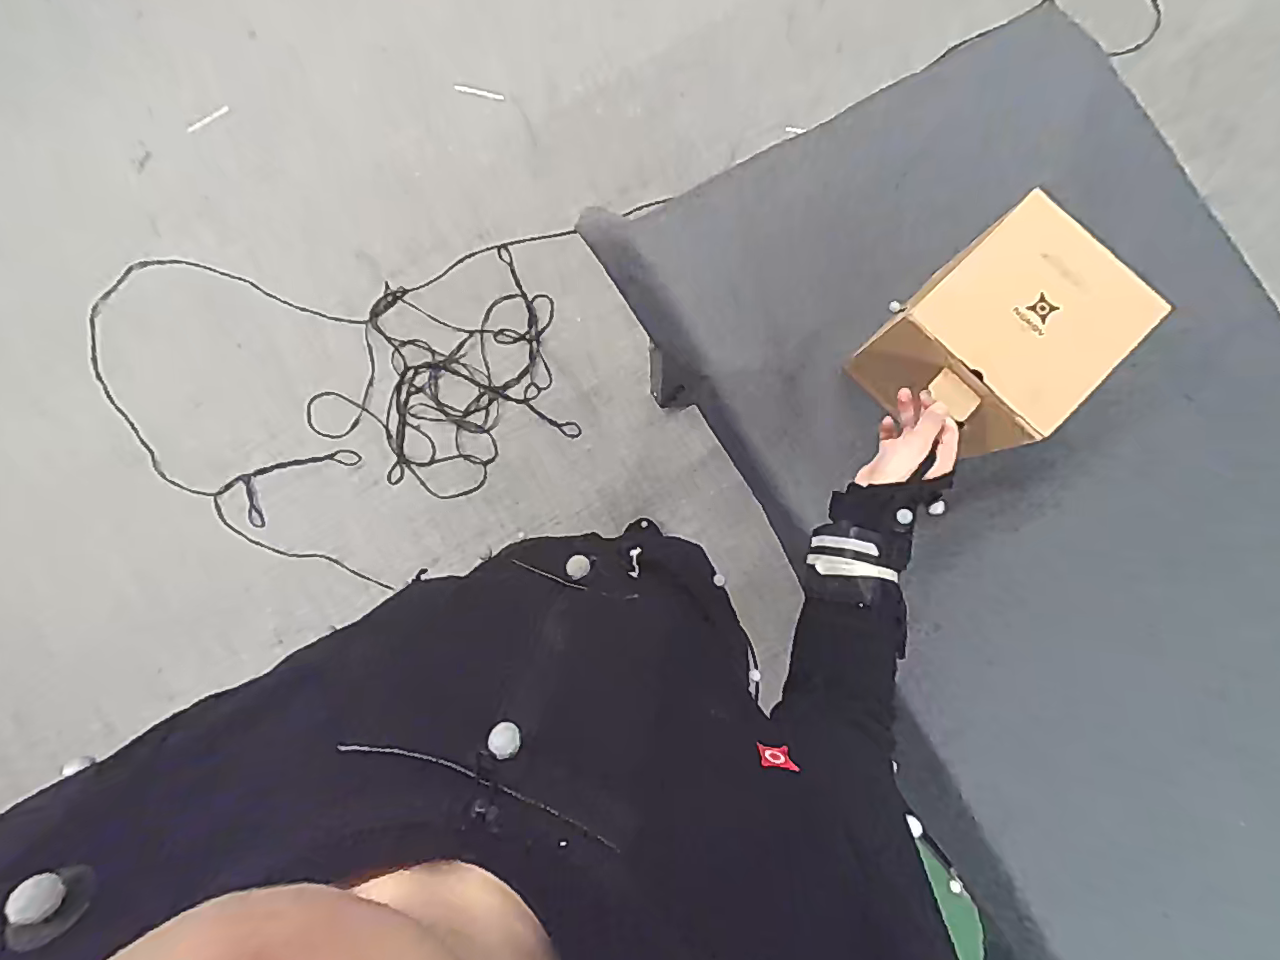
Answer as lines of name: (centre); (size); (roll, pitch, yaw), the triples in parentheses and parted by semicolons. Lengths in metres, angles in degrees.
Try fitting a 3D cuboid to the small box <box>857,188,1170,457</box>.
small box: (0.355, -0.142, 0.559); (0.168, 0.176, 0.179); (45, 85, 3)
